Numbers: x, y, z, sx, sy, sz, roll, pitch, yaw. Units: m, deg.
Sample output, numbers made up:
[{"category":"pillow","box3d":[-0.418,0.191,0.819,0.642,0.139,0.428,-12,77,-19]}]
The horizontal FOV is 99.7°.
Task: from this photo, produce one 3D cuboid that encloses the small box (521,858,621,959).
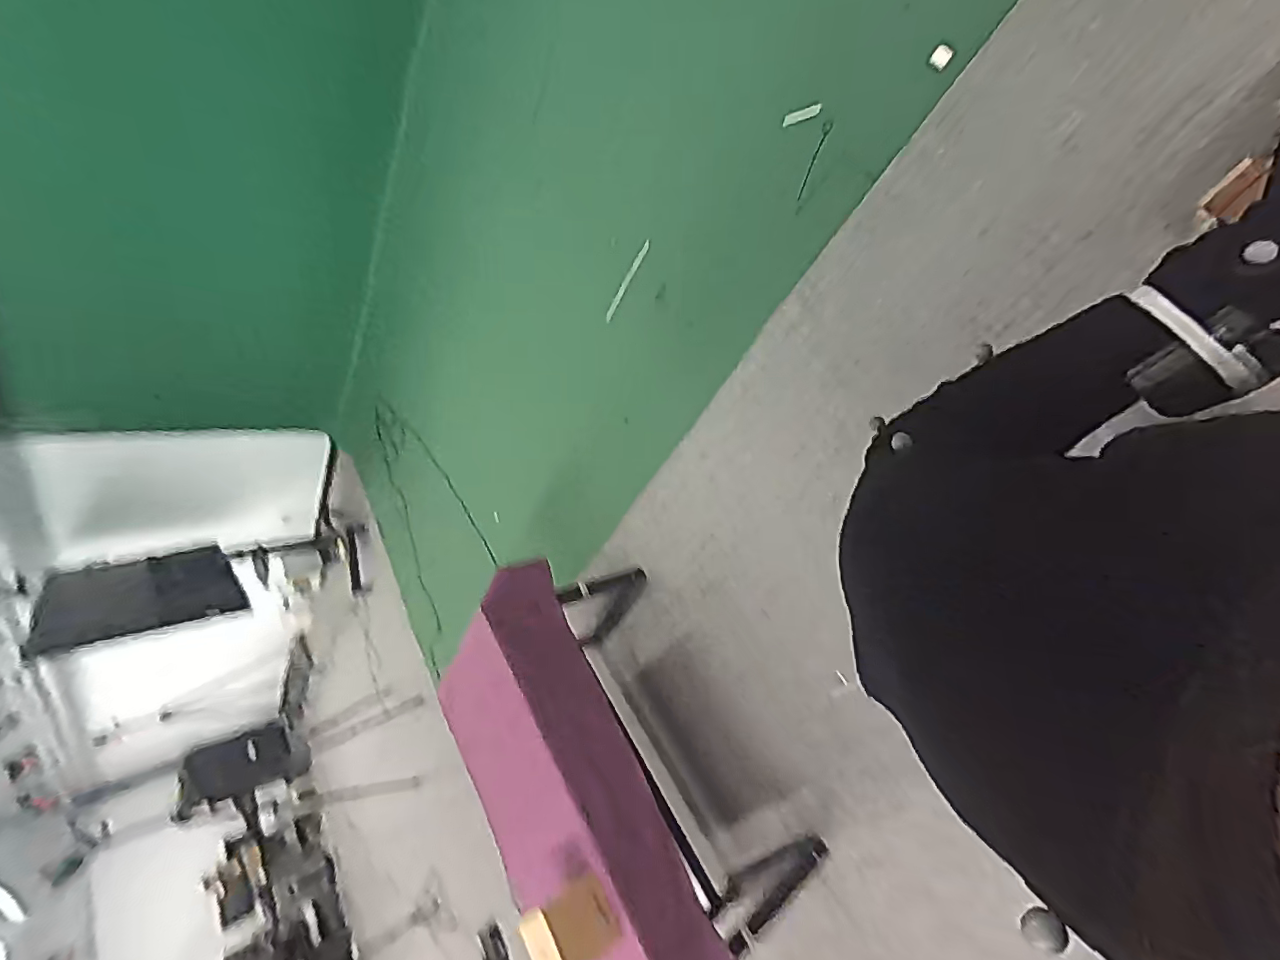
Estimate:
[{"category":"small box","box3d":[-0.178,1.133,1.410,0.168,0.176,0.179,55,130,26]}]
